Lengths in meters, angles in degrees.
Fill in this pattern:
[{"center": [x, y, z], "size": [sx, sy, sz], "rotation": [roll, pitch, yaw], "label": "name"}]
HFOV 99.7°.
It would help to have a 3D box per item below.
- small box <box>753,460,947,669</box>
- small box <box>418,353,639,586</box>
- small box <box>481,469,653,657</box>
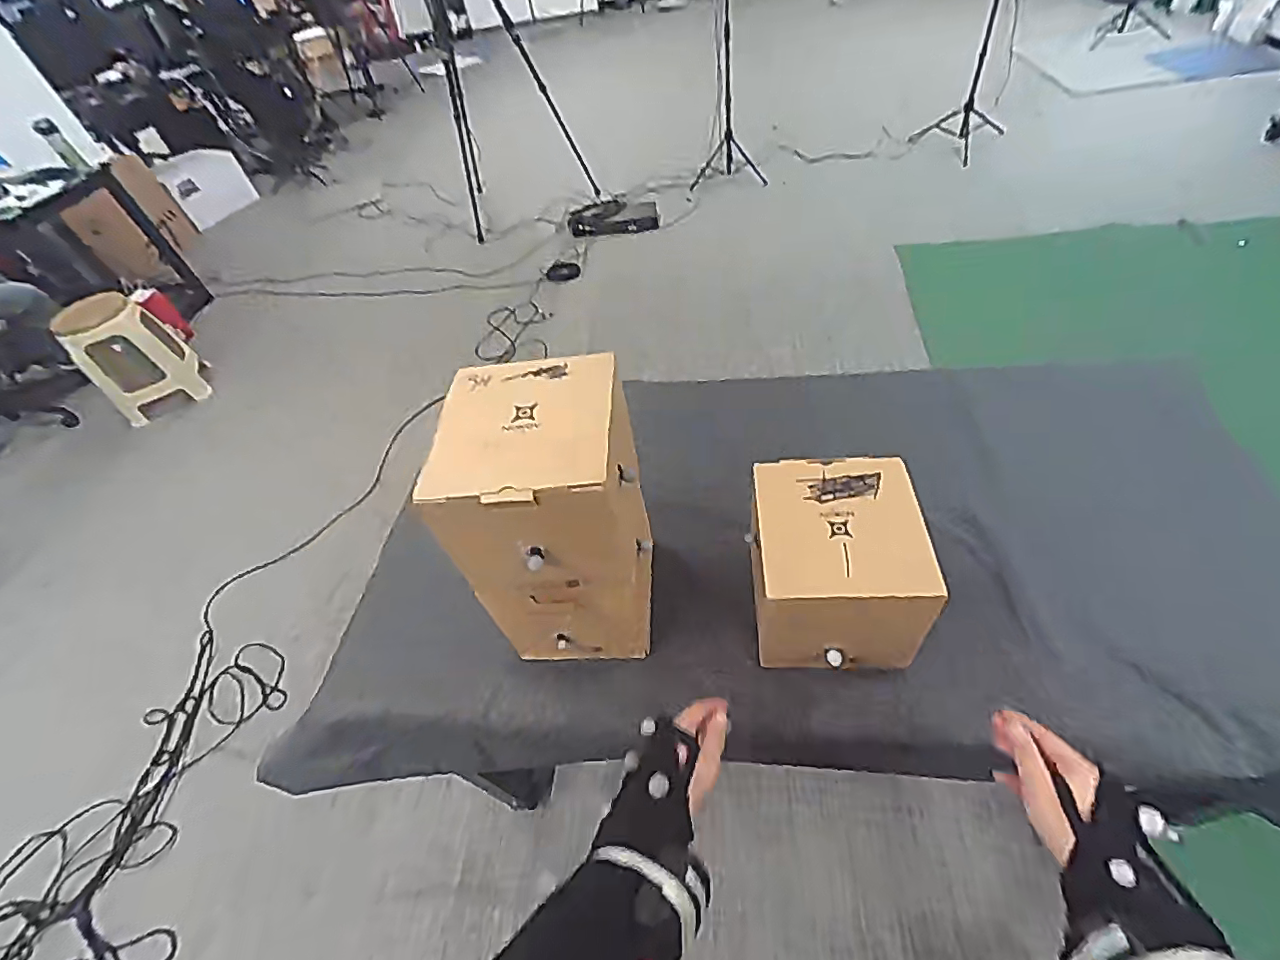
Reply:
[{"center": [0.219, 0.097, 0.622], "size": [0.168, 0.176, 0.179], "rotation": [-3, 48, 9], "label": "small box"}, {"center": [-0.093, -0.002, 0.551], "size": [0.168, 0.176, 0.179], "rotation": [-4, 50, 6], "label": "small box"}, {"center": [-0.075, 0.103, 0.676], "size": [0.168, 0.176, 0.179], "rotation": [-3, 49, 7], "label": "small box"}]
